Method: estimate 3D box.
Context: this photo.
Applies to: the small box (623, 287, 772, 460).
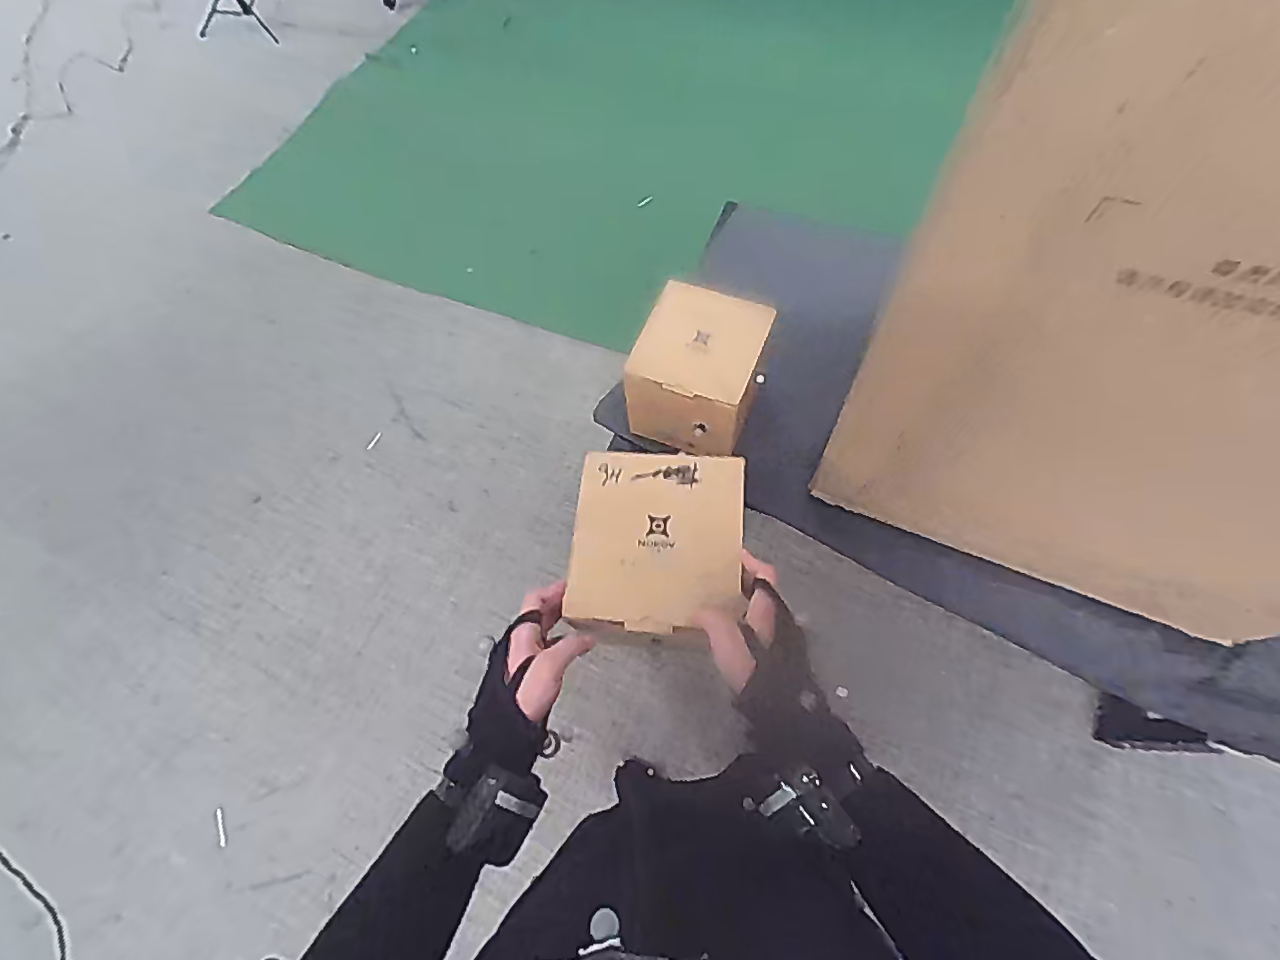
[{"bbox_3d":[0.087,-0.155,0.827,0.168,0.176,0.179,19,66,11],"label":"small box"}]
